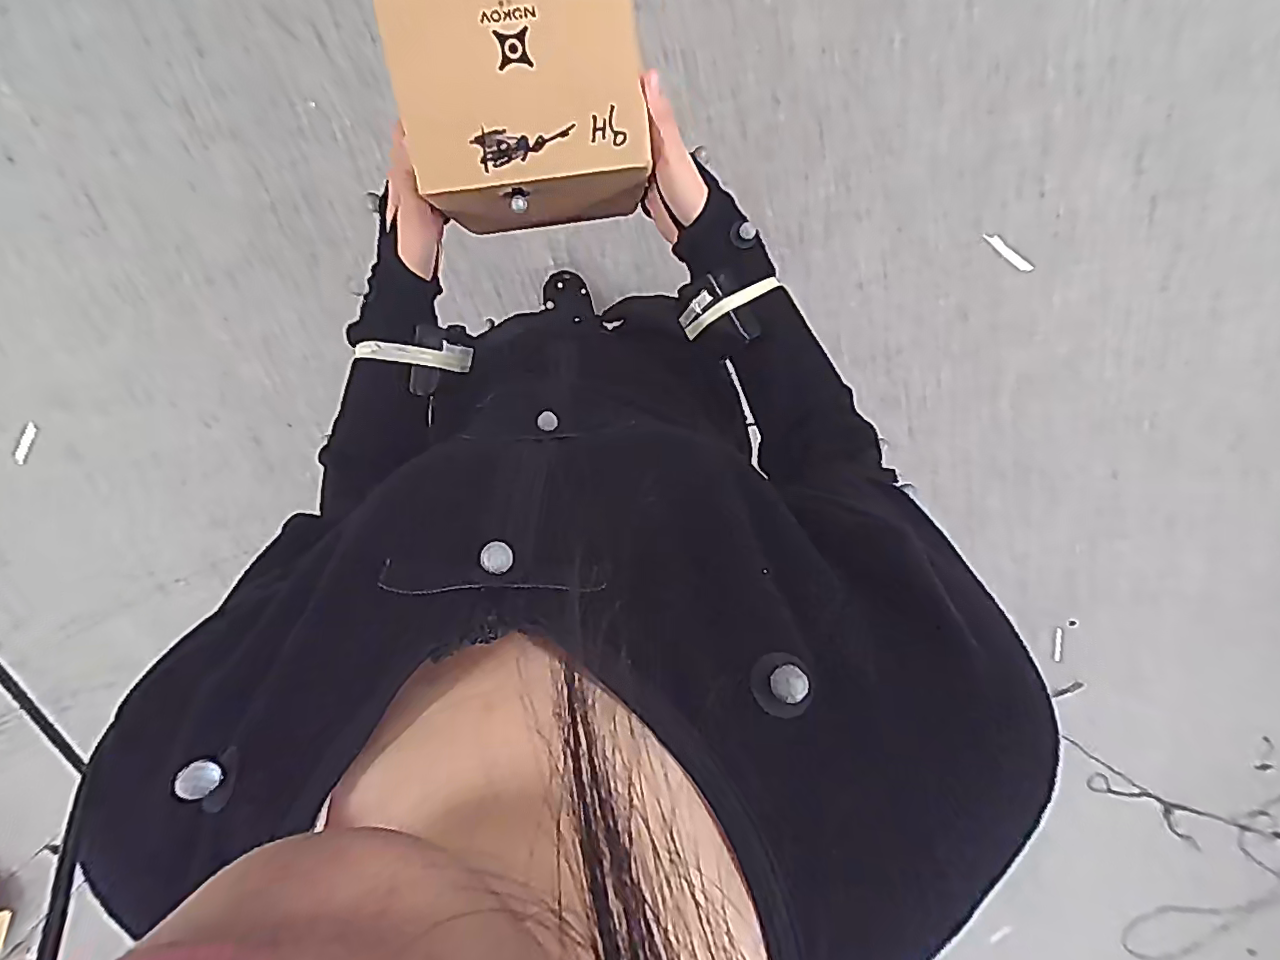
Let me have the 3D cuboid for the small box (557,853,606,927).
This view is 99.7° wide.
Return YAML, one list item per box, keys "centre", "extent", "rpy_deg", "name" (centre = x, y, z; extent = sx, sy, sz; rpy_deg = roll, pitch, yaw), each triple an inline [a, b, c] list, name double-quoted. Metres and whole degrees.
- centre: [-0.223, 1.558, 2.062]
  extent: [0.179, 0.176, 0.168]
  rpy_deg: [2, 111, -6]
  name: "small box"

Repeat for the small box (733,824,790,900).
- centre: [0.459, 1.443, 2.057]
  extent: [0.168, 0.176, 0.179]
  rpy_deg: [-12, 113, 1]
  name: "small box"

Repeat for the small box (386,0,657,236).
- centre: [-0.085, -0.310, 0.429]
  extent: [0.168, 0.176, 0.179]
  rpy_deg: [-9, 106, -3]
  name: "small box"
